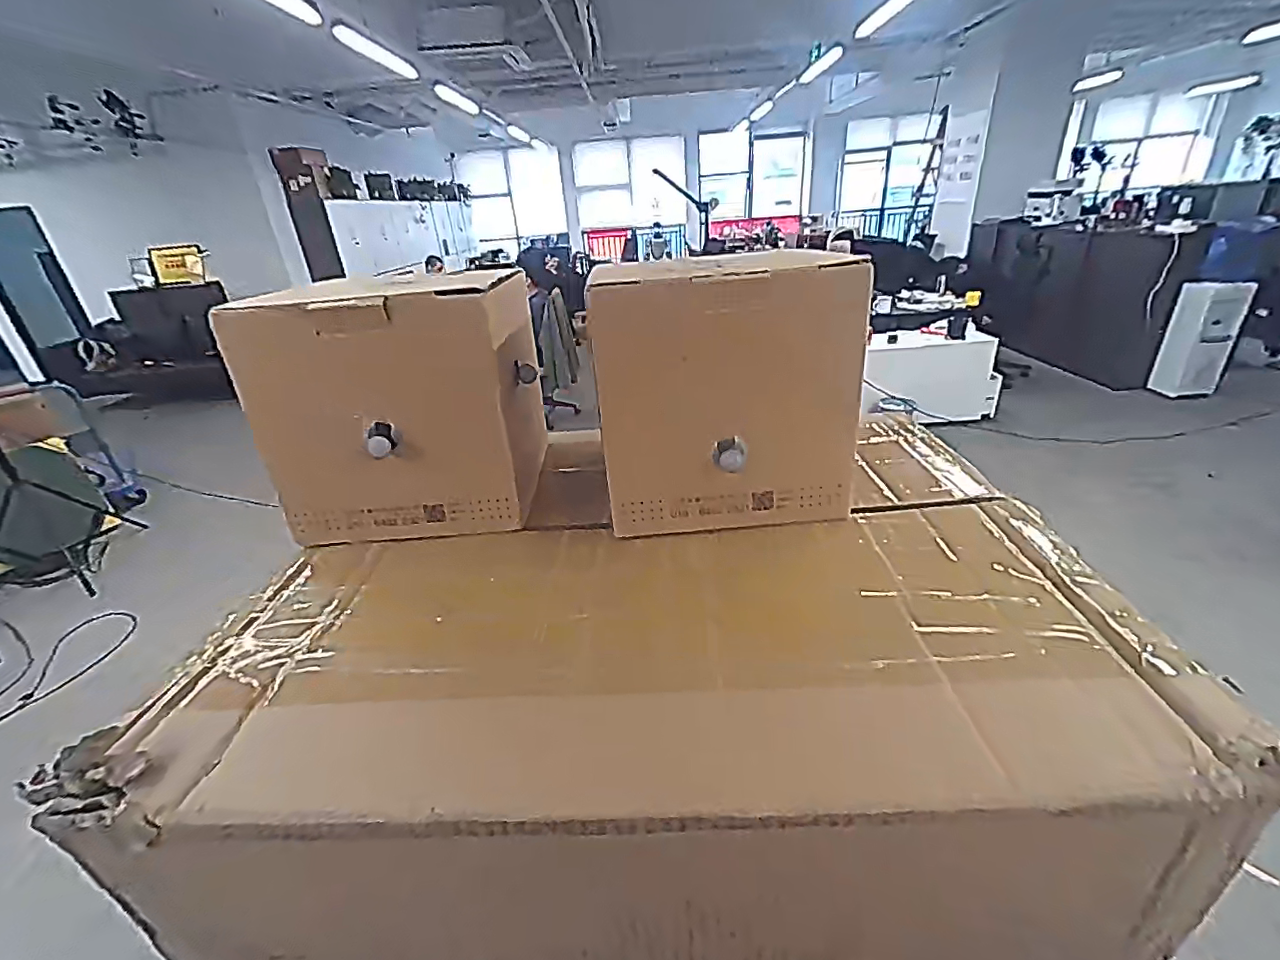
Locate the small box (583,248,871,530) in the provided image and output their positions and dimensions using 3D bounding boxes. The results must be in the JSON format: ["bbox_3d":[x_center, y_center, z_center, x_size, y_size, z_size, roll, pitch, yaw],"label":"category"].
[{"bbox_3d":[0.053,-0.078,0.411,0.168,0.176,0.179,-5,25,1],"label":"small box"}]

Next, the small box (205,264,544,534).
[{"bbox_3d":[-0.174,-0.067,0.427,0.168,0.176,0.179,-4,26,-2],"label":"small box"}]
